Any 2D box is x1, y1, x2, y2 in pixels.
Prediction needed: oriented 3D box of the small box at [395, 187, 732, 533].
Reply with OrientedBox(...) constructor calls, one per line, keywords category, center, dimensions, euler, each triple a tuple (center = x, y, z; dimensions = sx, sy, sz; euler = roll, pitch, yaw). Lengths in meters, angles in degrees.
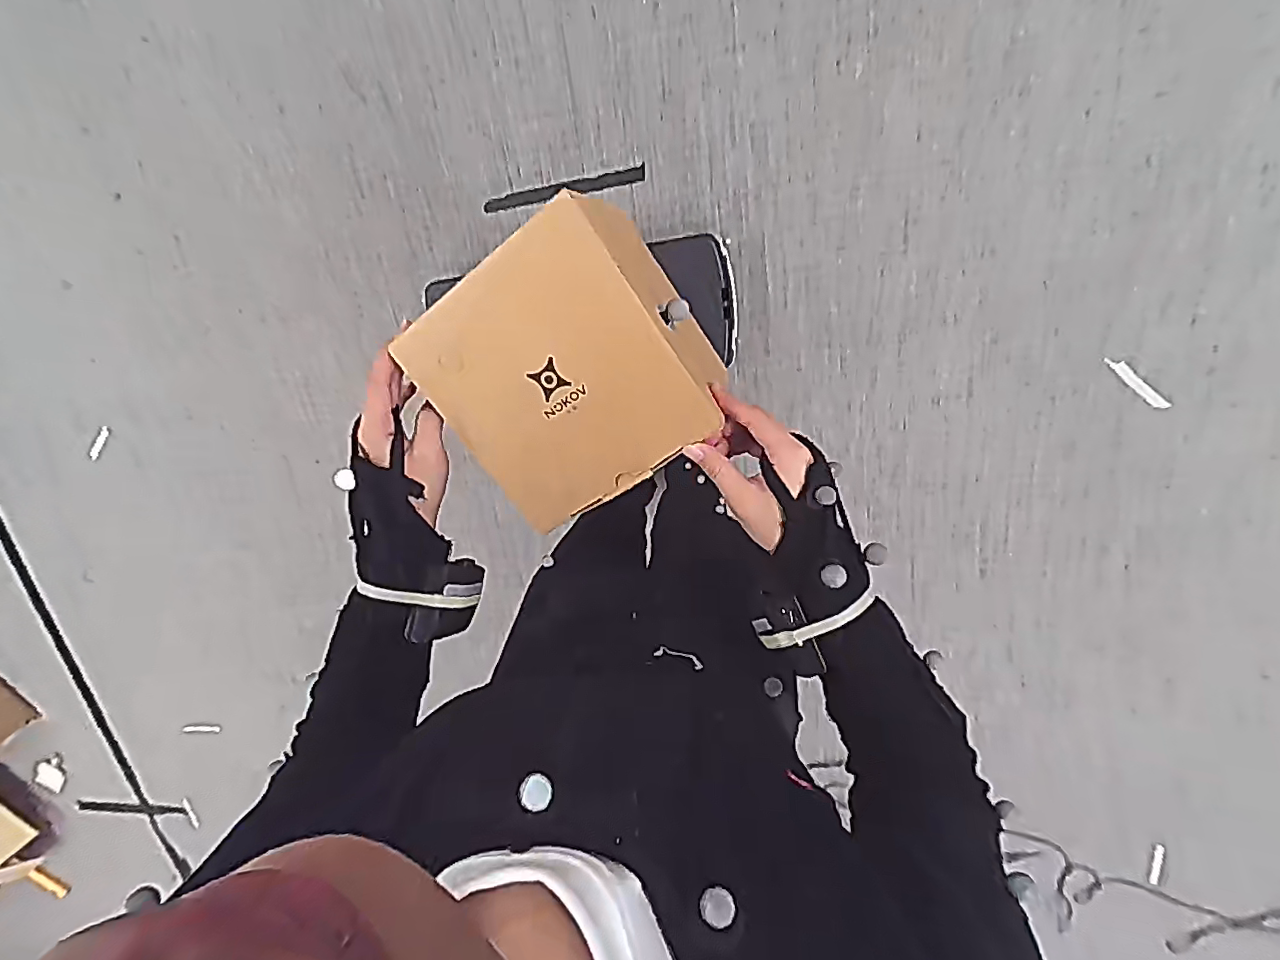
OrientedBox(category="small box", center=(-0.043, -0.096, 0.432), dimensions=(0.168, 0.176, 0.179), euler=(-31, 107, 19))
